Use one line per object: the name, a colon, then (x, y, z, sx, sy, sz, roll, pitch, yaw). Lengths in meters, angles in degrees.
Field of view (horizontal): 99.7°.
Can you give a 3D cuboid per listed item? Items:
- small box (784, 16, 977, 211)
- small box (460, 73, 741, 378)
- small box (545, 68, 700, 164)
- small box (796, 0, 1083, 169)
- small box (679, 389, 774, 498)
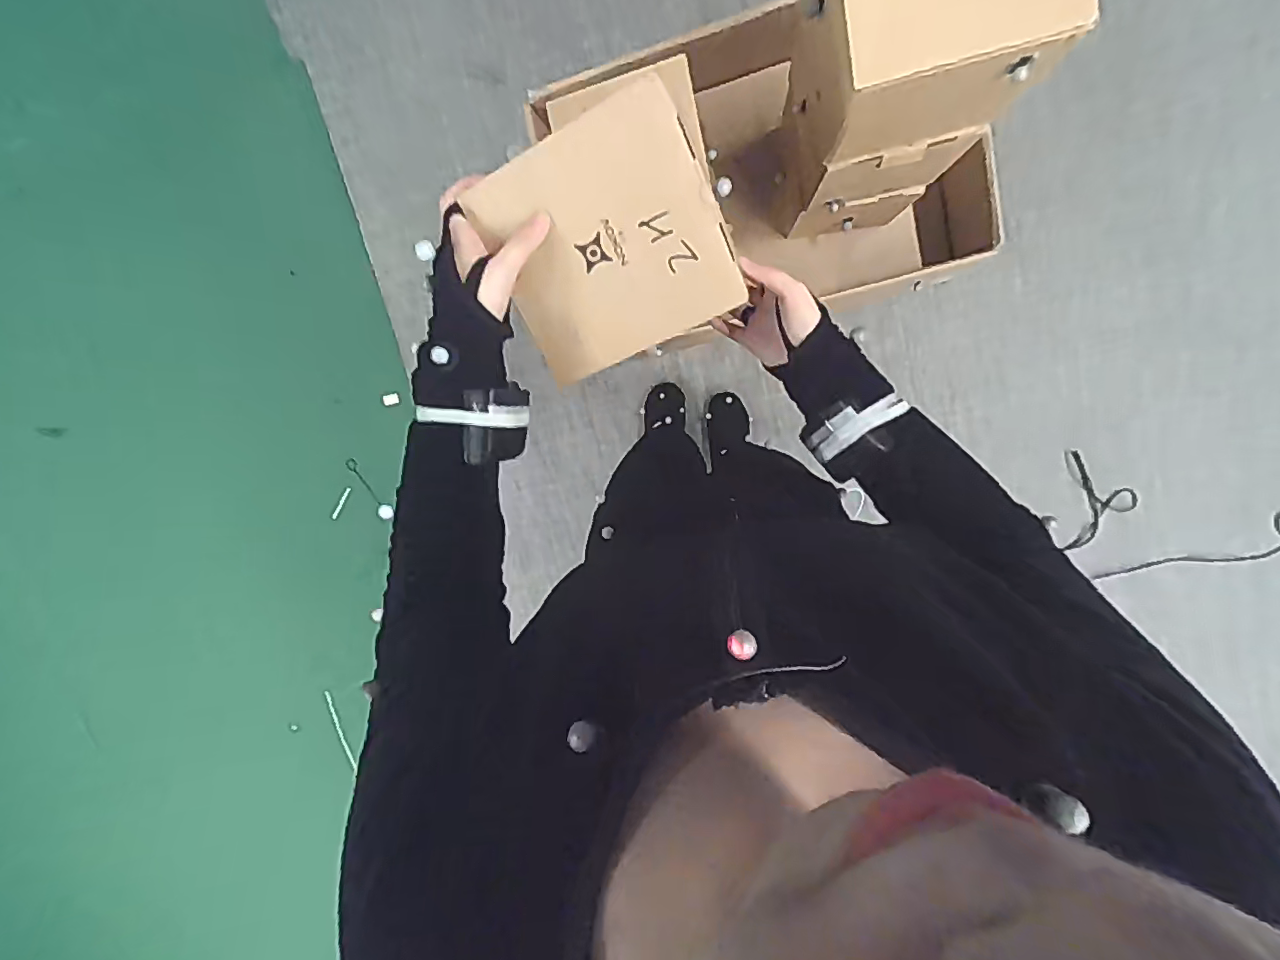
small box: (0.271, -0.440, 0.642, 0.168, 0.176, 0.179, -9, 99, 10)
small box: (-0.019, -0.216, 0.487, 0.179, 0.176, 0.168, -20, 113, 16)
small box: (-0.002, -0.369, 0.695, 0.168, 0.176, 0.179, -11, 99, 10)
small box: (0.243, -0.409, 0.484, 0.179, 0.176, 0.168, -10, 100, 9)
small box: (0.211, -0.091, 1.371, 0.179, 0.176, 0.168, -40, 63, -20)
